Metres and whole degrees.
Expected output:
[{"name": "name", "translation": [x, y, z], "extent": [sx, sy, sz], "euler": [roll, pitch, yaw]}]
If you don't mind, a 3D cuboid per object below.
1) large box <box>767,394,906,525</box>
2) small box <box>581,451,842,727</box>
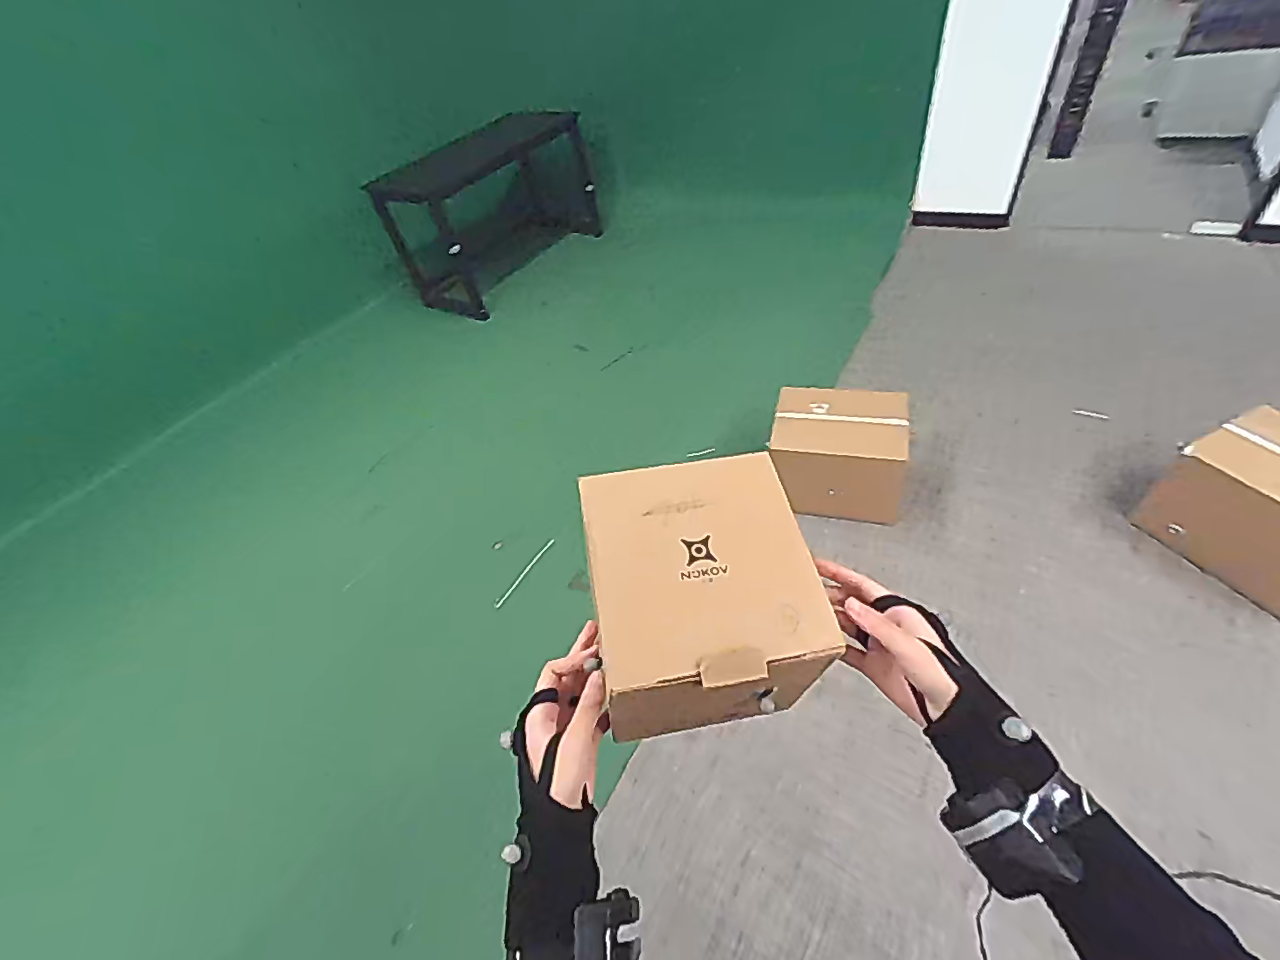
[{"name": "large box", "translation": [0.657, -0.072, 1.827], "extent": [0.408, 0.320, 0.320], "euler": [5, 48, 20]}, {"name": "small box", "translation": [0.043, 0.101, 0.467], "extent": [0.168, 0.176, 0.179], "euler": [-7, 54, -7]}]
